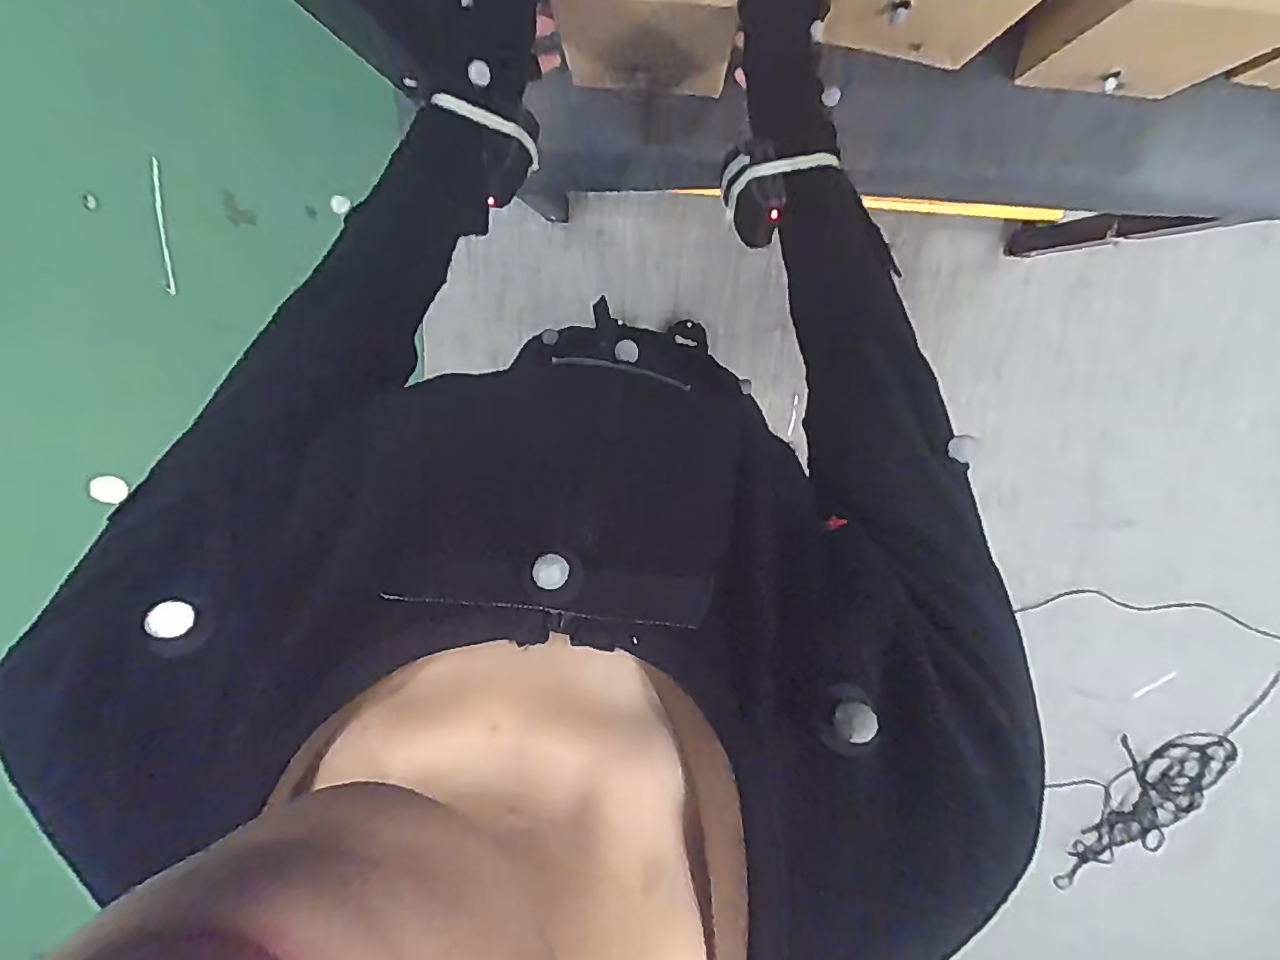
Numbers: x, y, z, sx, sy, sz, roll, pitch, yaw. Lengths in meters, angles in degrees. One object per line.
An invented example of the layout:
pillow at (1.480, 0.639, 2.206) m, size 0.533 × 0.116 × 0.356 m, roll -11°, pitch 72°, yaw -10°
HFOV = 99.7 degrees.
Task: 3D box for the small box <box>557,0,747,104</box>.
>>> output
small box at (0.016, -0.493, 0.507) m, size 0.168 × 0.176 × 0.179 m, roll 5°, pitch 104°, yaw 1°

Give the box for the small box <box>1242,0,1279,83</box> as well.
small box at (0.725, -0.477, 0.484) m, size 0.168 × 0.176 × 0.179 m, roll 8°, pitch 106°, yaw 0°

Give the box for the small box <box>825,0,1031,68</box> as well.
small box at (0.286, -0.520, 0.495) m, size 0.168 × 0.176 × 0.179 m, roll 11°, pitch 106°, yaw -1°
